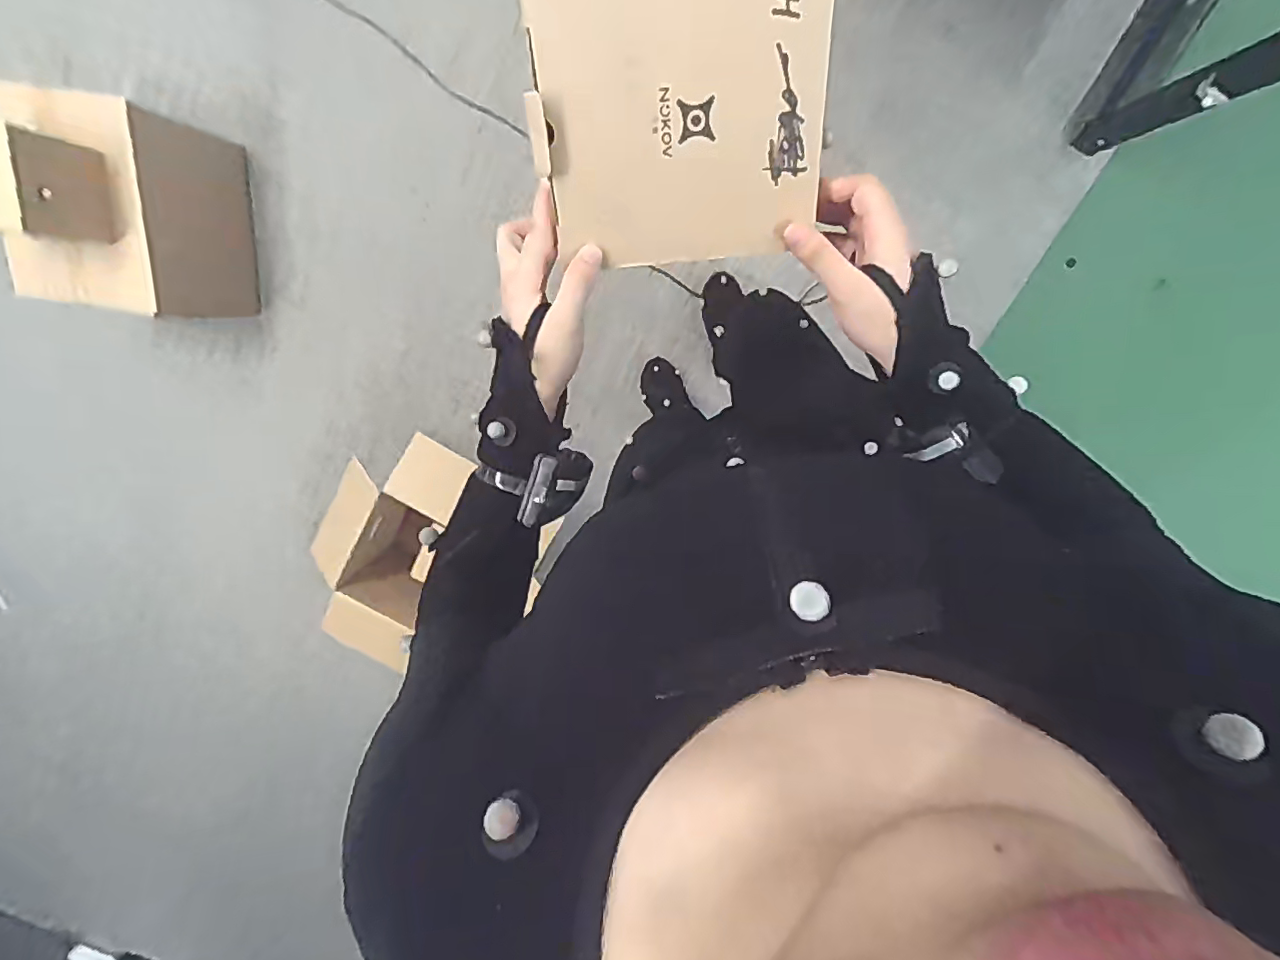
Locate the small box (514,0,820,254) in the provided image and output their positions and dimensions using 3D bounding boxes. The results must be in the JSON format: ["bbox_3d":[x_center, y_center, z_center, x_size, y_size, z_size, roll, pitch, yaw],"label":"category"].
[{"bbox_3d":[0.022,-0.272,0.400,0.179,0.176,0.168,-3,122,4],"label":"small box"}]

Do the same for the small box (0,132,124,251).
[{"bbox_3d":[-1.135,-0.540,1.022,0.168,0.176,0.179,8,107,0],"label":"small box"}]
